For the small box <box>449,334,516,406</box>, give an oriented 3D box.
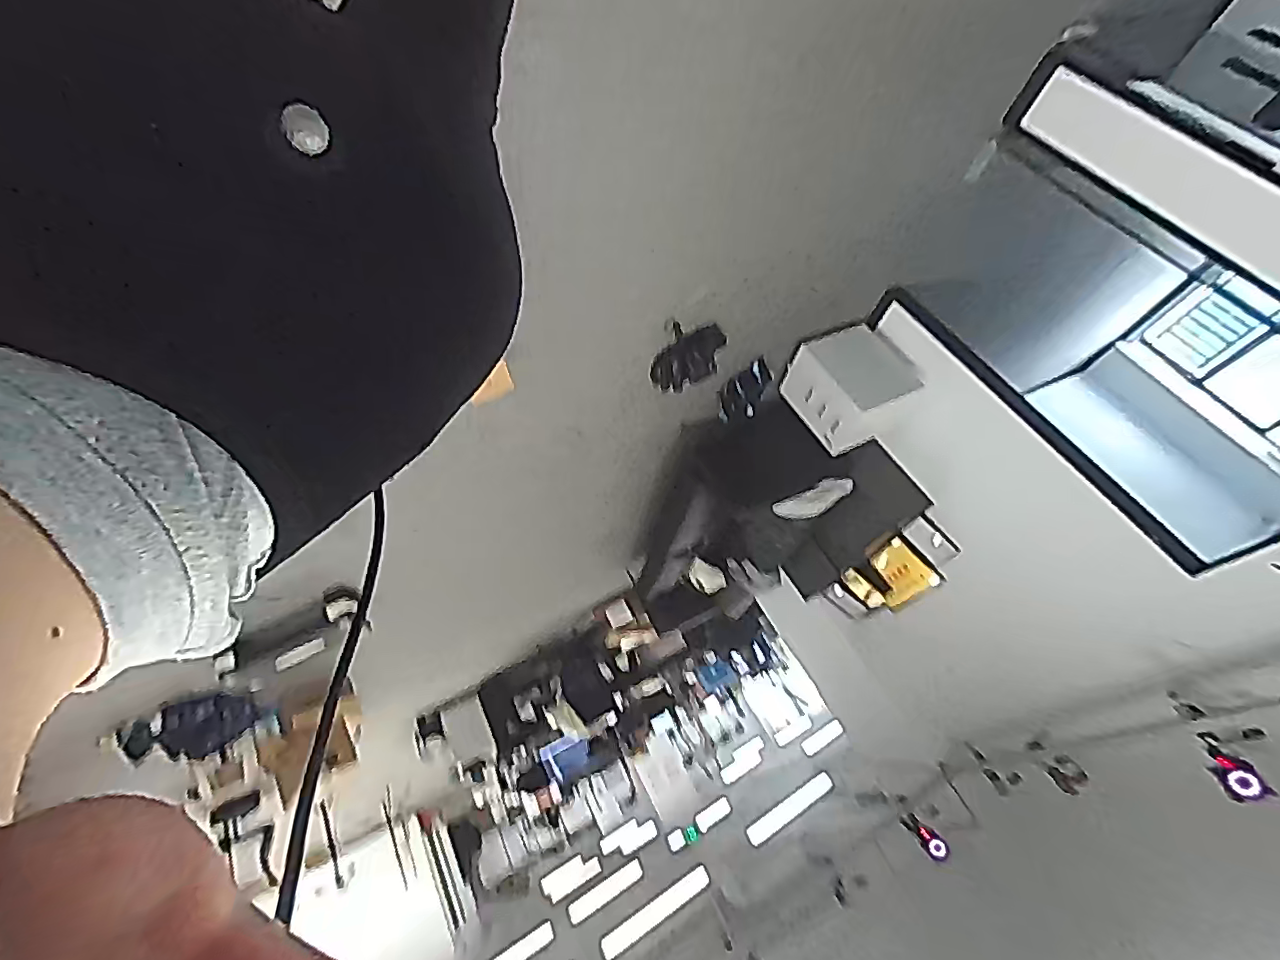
[{"bbox_3d":[-0.577,-0.410,1.979,0.168,0.176,0.179,-25,156,-11],"label":"small box"}]
